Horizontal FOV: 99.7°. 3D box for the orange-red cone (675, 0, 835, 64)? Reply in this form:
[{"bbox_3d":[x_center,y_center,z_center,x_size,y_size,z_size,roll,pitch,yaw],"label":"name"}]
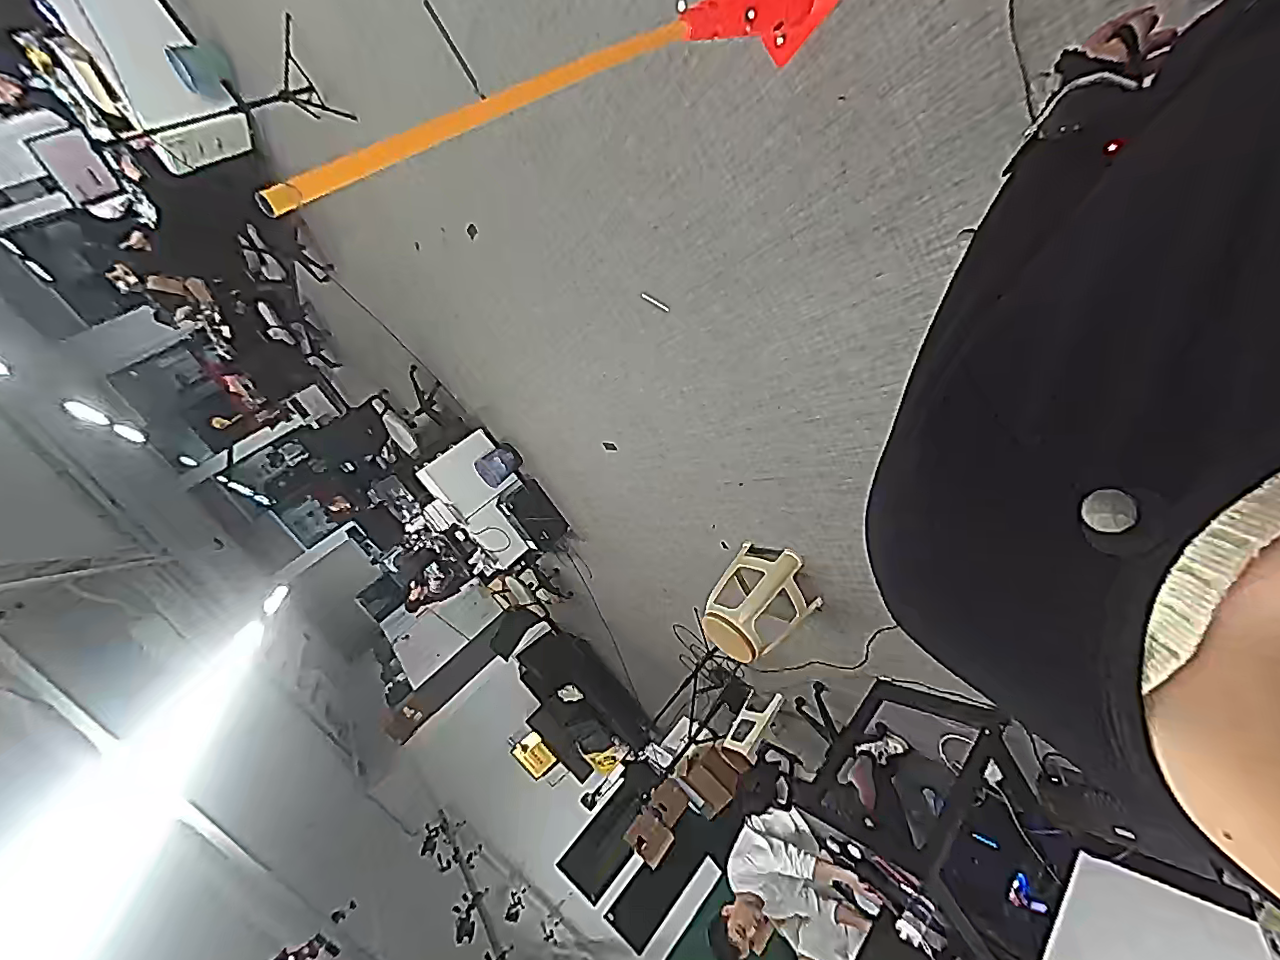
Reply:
[{"bbox_3d":[0.194,-0.946,1.079,0.198,0.360,0.199,53,152,-10],"label":"orange-red cone"}]
